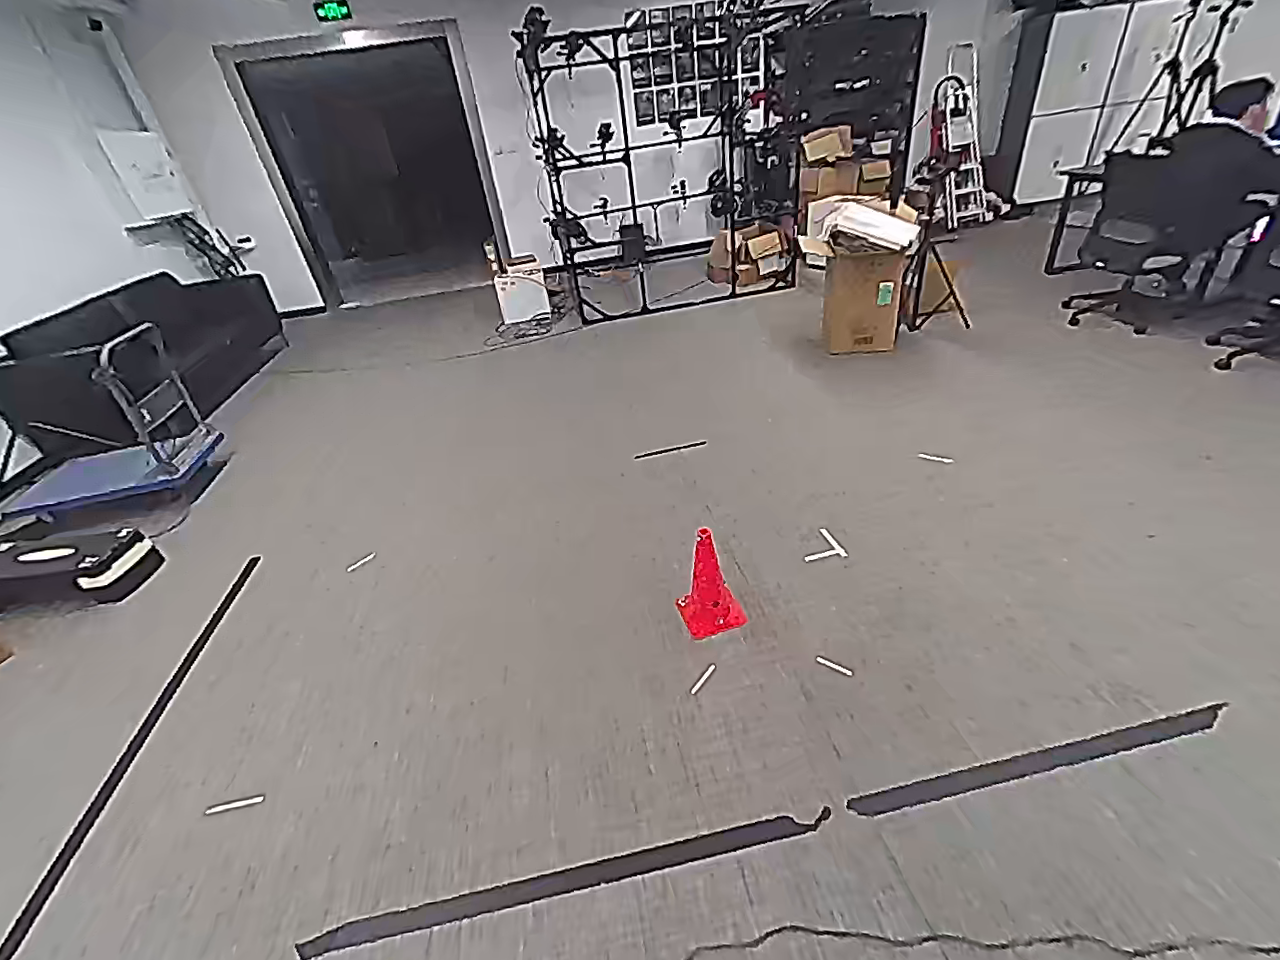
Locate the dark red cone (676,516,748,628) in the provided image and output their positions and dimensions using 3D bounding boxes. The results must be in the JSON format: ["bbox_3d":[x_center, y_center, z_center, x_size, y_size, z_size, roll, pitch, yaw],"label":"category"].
[{"bbox_3d":[0.222,0.280,1.748,0.202,0.394,0.201,-16,35,-11],"label":"dark red cone"}]
